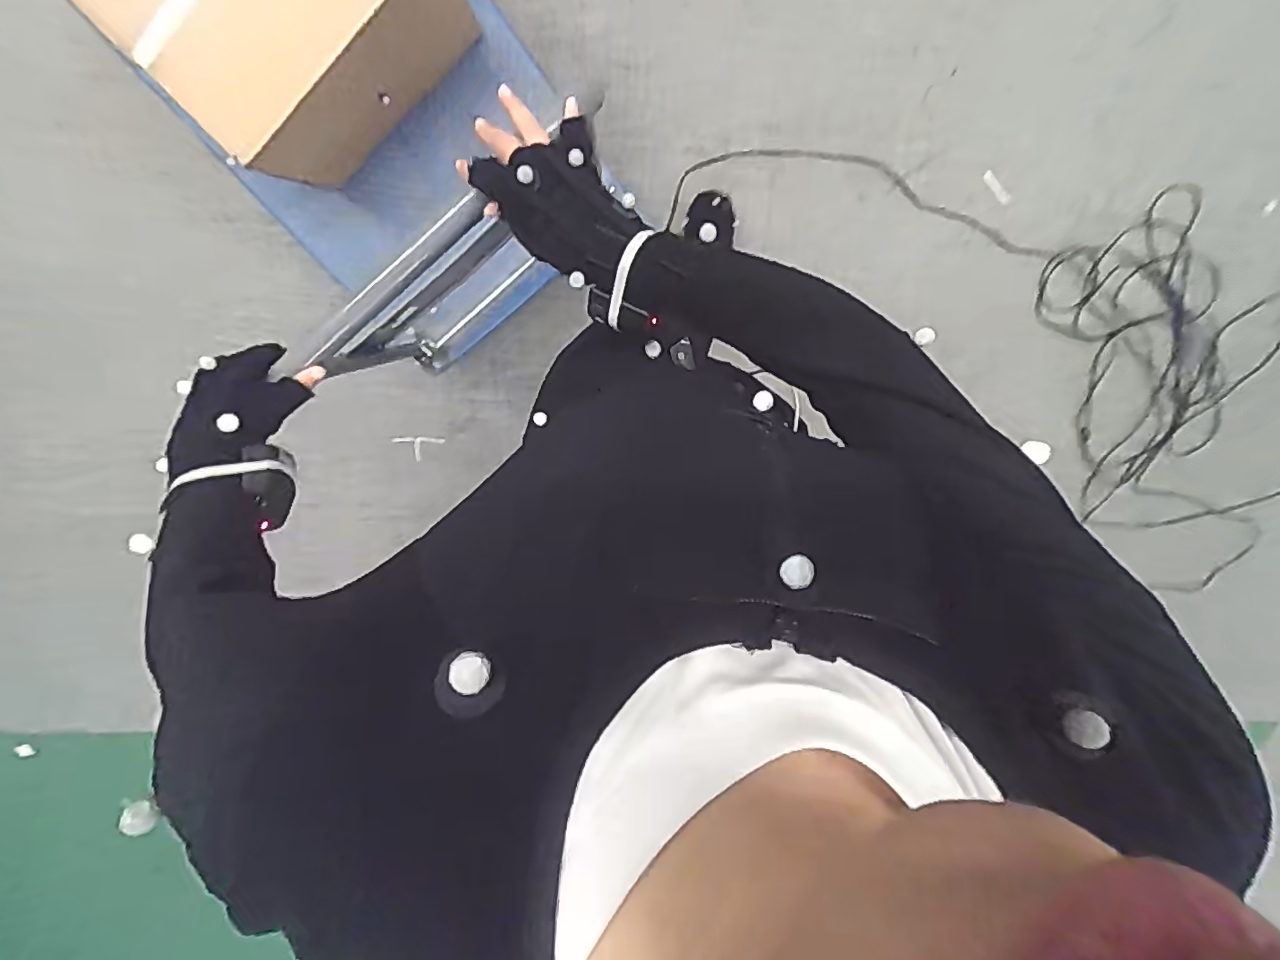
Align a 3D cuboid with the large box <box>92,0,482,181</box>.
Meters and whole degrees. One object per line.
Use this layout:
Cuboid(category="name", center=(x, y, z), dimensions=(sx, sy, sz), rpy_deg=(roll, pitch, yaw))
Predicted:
Cuboid(category="large box", center=(-0.511, -0.742, 0.822), dimensions=(0.408, 0.320, 0.320), rpy_deg=(-39, 109, 12))
